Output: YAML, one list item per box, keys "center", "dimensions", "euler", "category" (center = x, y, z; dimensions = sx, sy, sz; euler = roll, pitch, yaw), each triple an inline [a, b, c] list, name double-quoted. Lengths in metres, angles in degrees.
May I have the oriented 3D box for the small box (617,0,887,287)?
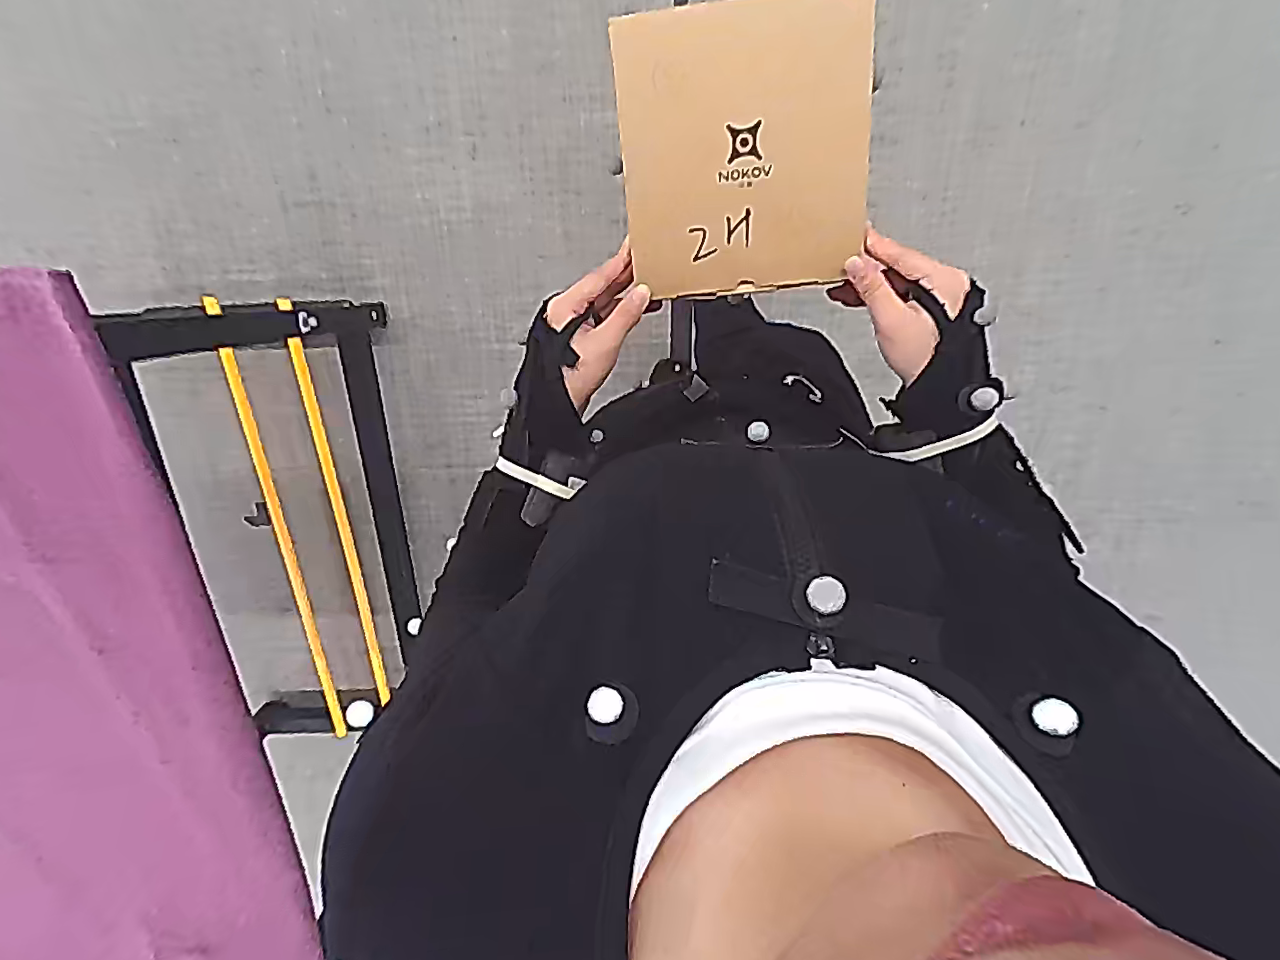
- center: [0.078, -0.252, 0.427]
  dimensions: [0.168, 0.176, 0.179]
  euler: [-3, 112, 7]
  category: "small box"
